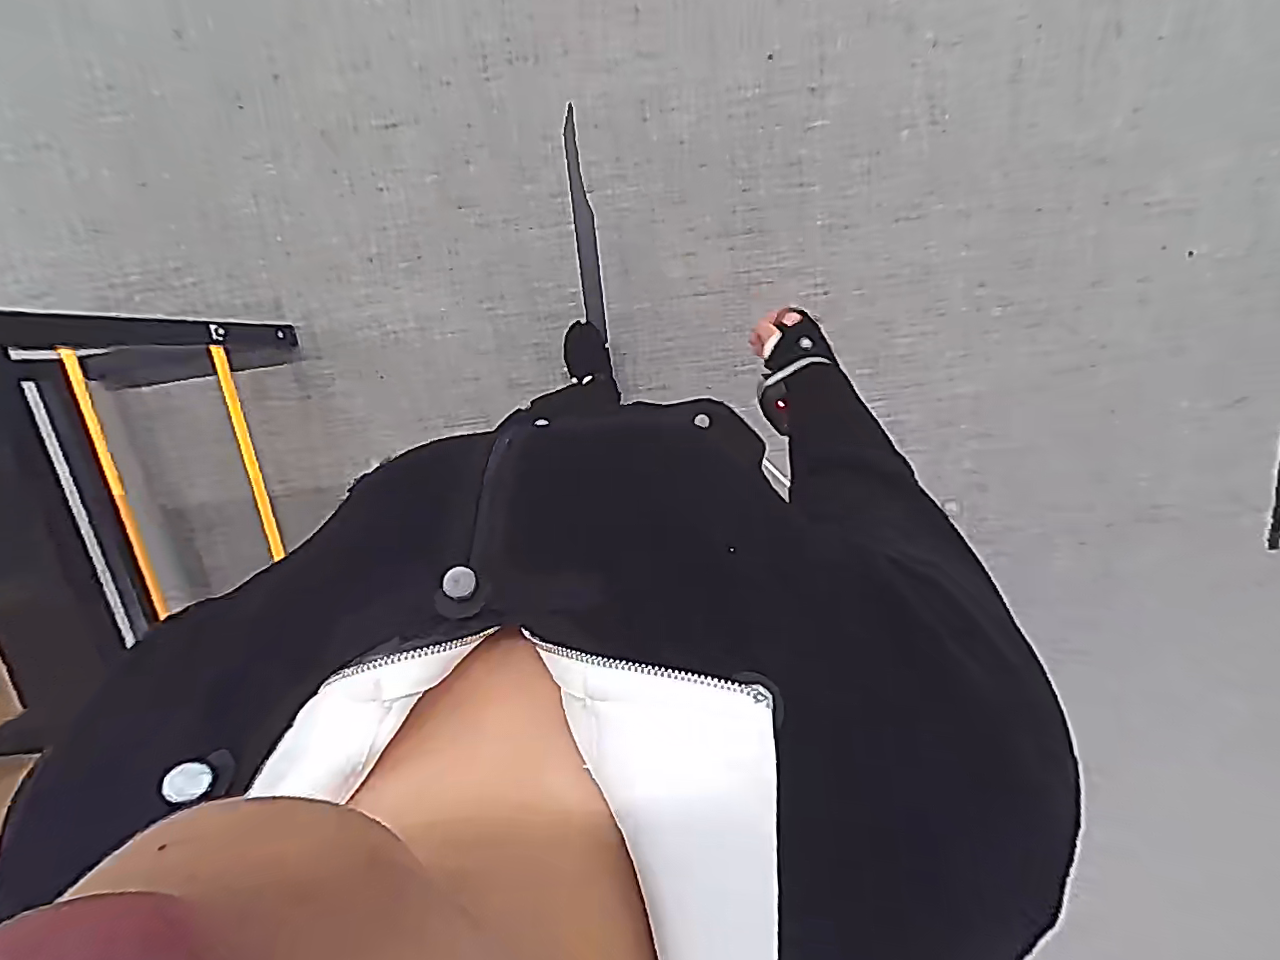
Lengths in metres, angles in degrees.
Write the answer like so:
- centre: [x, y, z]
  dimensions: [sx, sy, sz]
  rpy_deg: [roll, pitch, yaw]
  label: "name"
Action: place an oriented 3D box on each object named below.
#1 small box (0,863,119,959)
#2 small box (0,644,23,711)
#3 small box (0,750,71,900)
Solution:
- centre: [-0.988, 0.750, 0.849]
  dimensions: [0.168, 0.176, 0.179]
  rpy_deg: [-7, 103, 1]
  label: "small box"
- centre: [-1.039, 0.295, 0.738]
  dimensions: [0.179, 0.176, 0.168]
  rpy_deg: [-8, 105, 1]
  label: "small box"
- centre: [-1.008, 0.525, 0.794]
  dimensions: [0.179, 0.176, 0.168]
  rpy_deg: [-7, 103, 1]
  label: "small box"
